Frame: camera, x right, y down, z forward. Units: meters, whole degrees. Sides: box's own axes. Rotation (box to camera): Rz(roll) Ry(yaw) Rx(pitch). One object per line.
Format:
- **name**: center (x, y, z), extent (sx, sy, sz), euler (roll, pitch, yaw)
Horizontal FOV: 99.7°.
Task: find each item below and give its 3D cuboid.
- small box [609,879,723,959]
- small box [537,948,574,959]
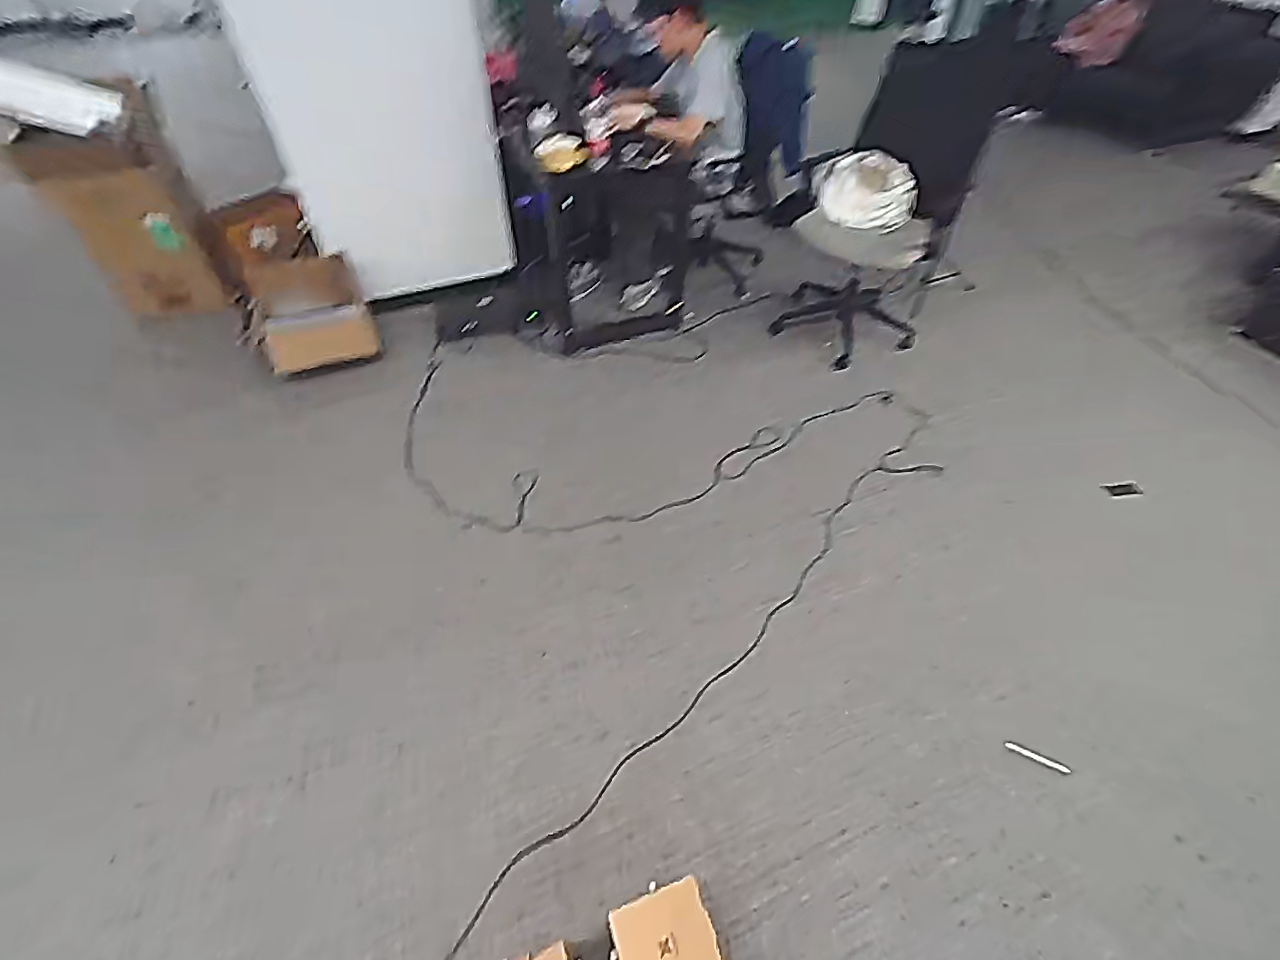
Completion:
- **small box**: center (0.051, 0.896, 1.023), extent (0.179, 0.176, 0.168), euler (-15, 50, -15)
- **small box**: center (-0.178, 0.971, 0.952), extent (0.168, 0.176, 0.179), euler (-18, 51, -14)
